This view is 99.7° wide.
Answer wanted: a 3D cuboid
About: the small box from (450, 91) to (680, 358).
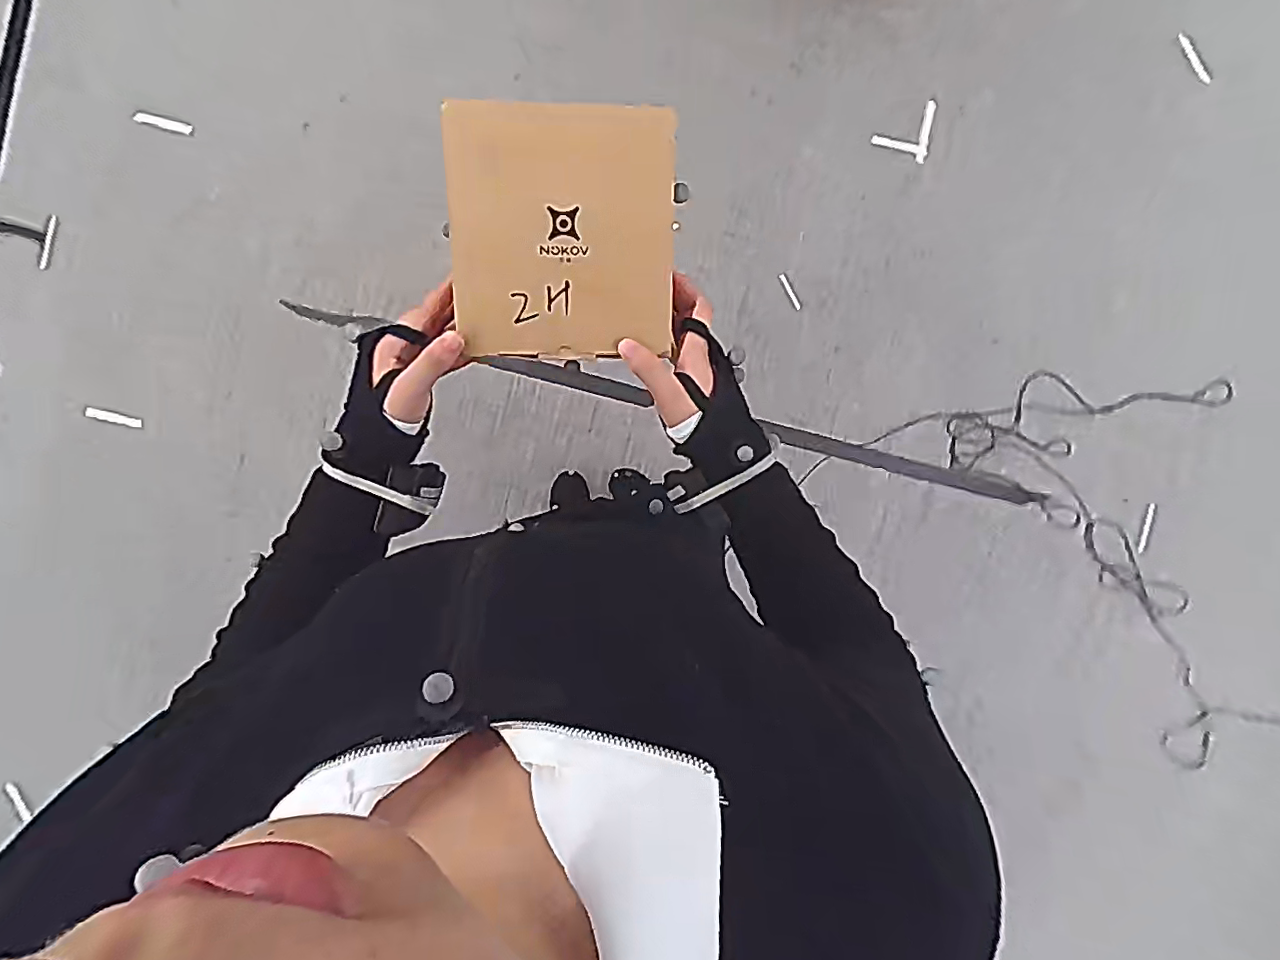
[{"bbox_3d":[-0.061,-0.201,0.477,0.168,0.176,0.179,0,102,-4],"label":"small box"}]
